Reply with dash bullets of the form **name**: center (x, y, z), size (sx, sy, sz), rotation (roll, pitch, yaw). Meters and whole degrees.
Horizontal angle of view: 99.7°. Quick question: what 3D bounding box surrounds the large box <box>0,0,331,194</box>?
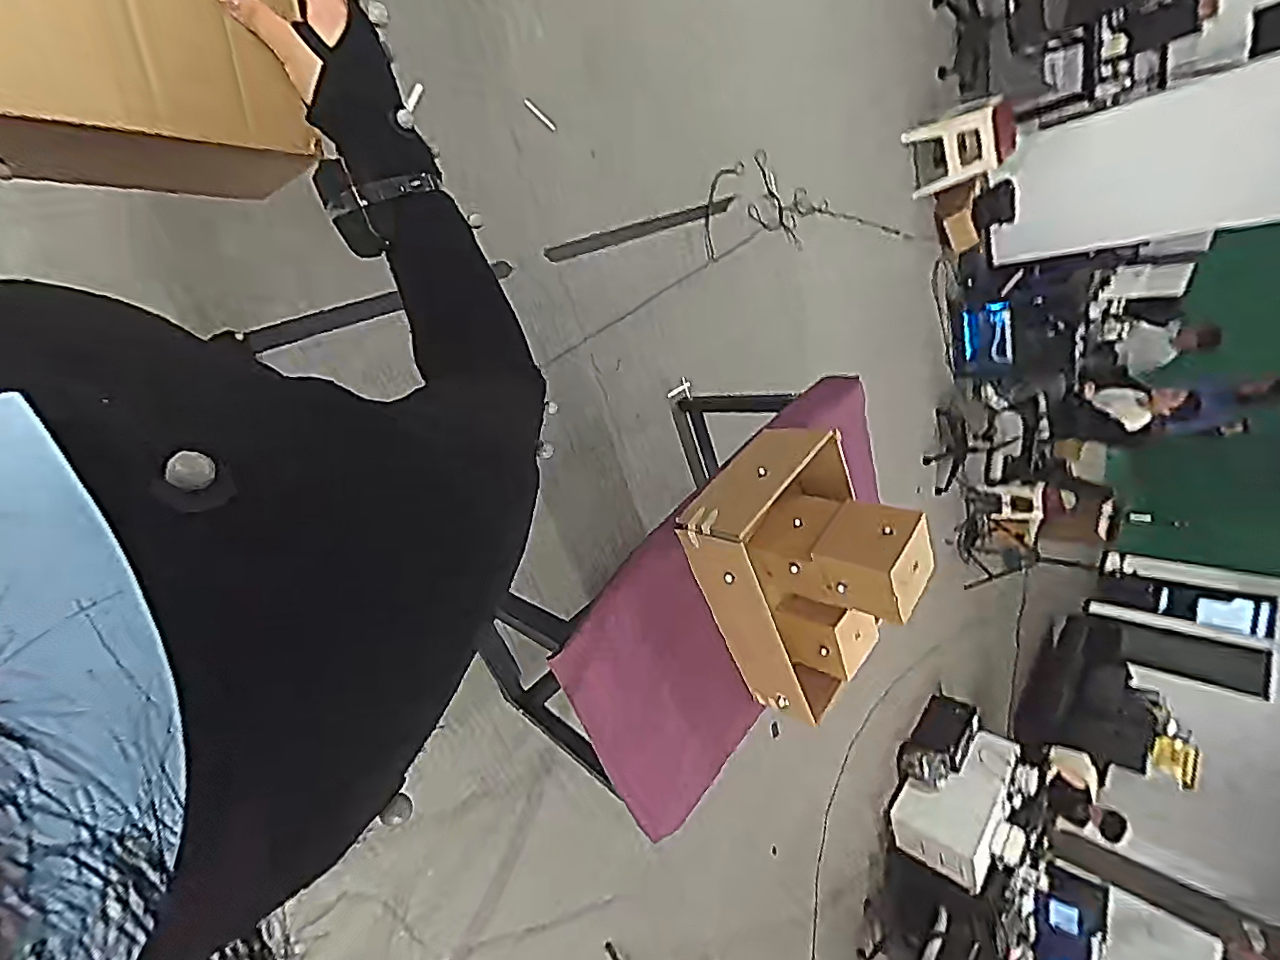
- **large box**: center (-0.495, -0.402, 0.377), size (0.408, 0.320, 0.320), rotation (-15, 114, -37)

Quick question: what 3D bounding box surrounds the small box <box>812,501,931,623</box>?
- **small box**: center (0.492, 0.166, 1.151), size (0.179, 0.176, 0.168), rotation (-46, 125, -27)
